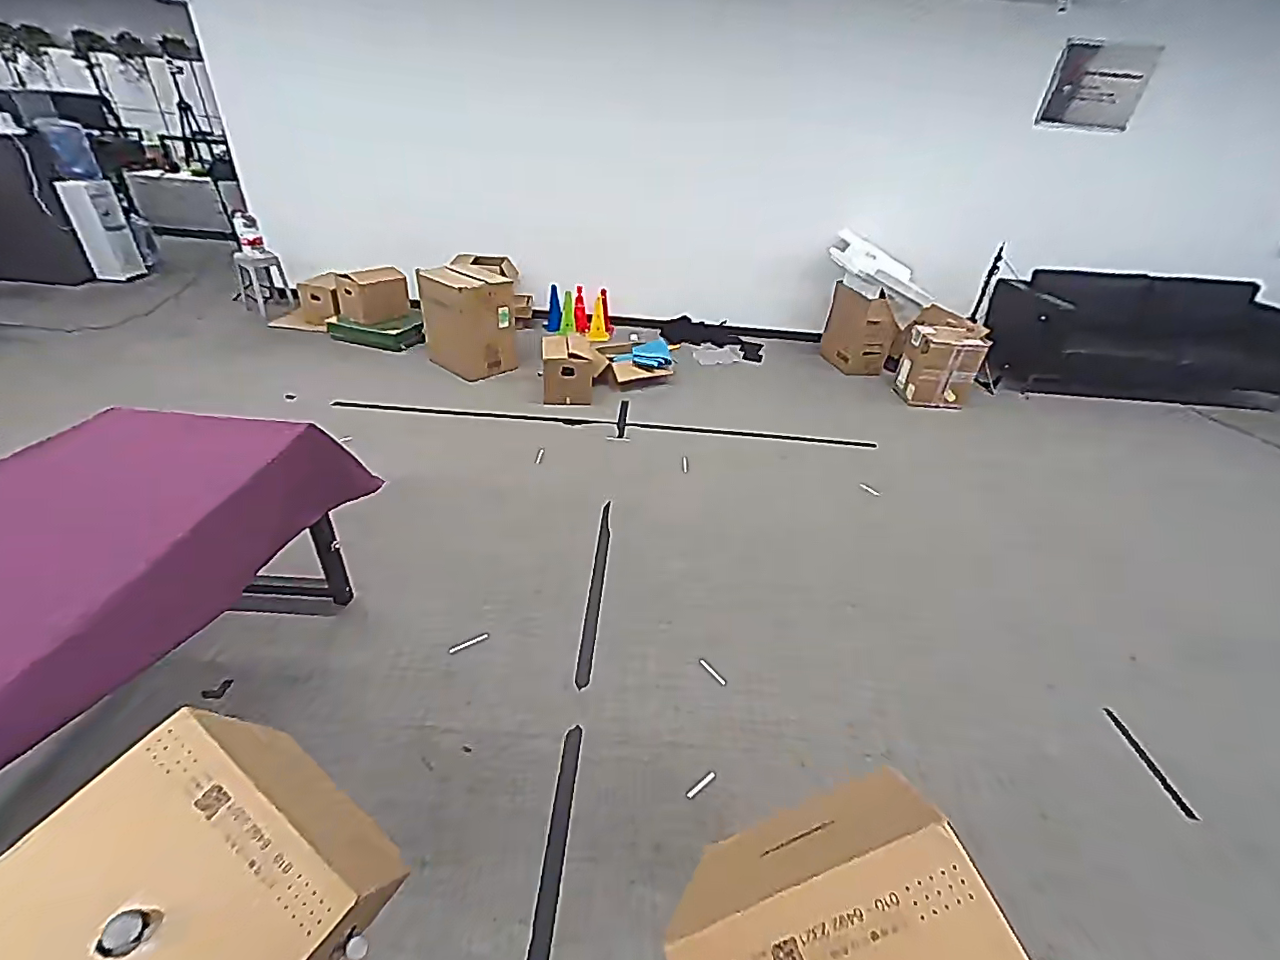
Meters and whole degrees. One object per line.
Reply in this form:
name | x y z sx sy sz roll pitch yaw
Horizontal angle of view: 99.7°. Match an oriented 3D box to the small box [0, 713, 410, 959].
small box | -0.279 0.273 0.344 0.168 0.179 0.176 38 60 12
